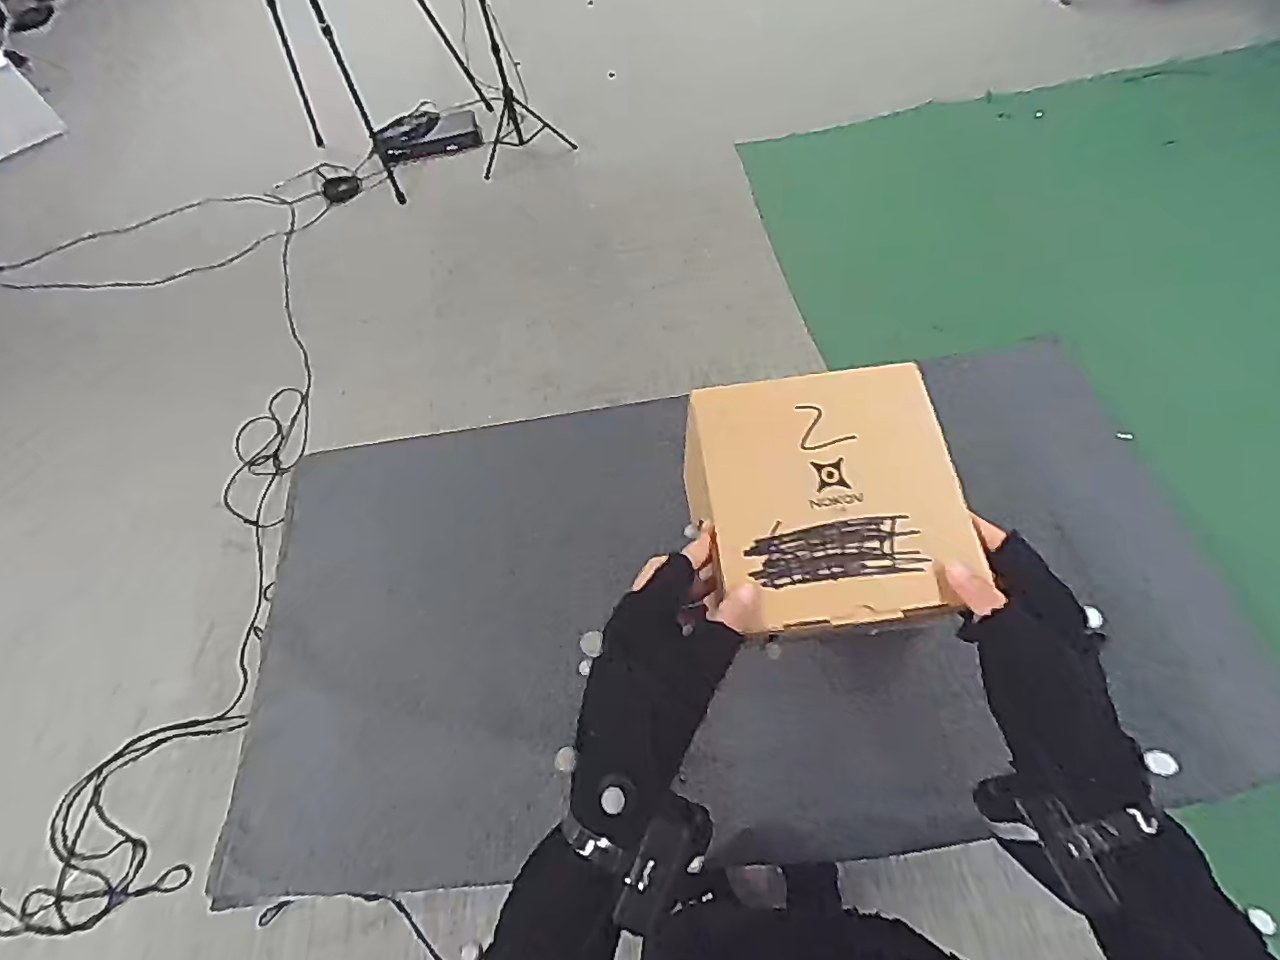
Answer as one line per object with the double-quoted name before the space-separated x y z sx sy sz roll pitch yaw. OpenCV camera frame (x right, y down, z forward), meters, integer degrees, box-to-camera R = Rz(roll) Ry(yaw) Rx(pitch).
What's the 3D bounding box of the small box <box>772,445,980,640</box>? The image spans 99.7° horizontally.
"small box" 0.258 0.080 0.645 0.168 0.176 0.179 -5 60 4
